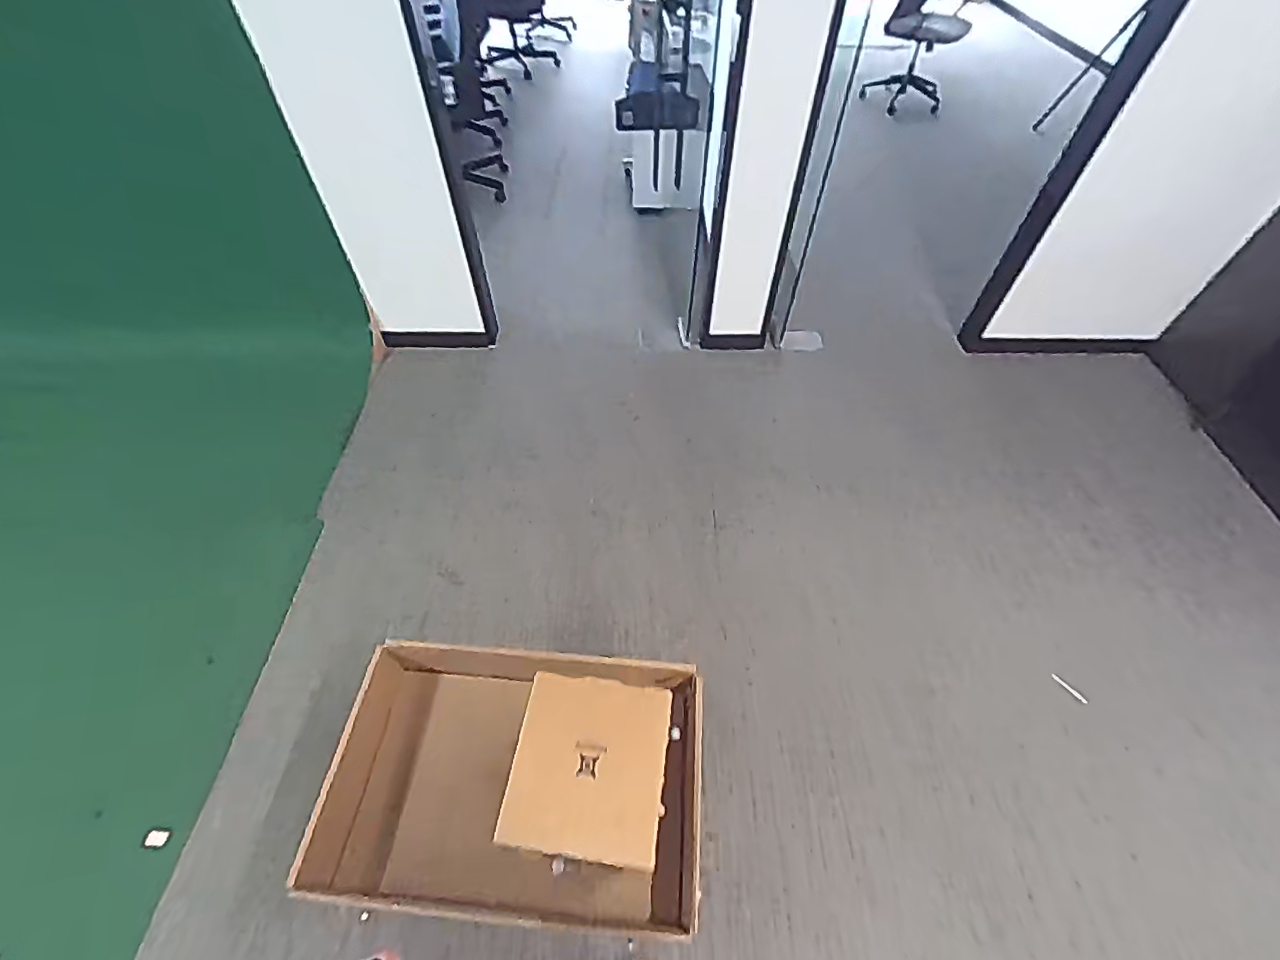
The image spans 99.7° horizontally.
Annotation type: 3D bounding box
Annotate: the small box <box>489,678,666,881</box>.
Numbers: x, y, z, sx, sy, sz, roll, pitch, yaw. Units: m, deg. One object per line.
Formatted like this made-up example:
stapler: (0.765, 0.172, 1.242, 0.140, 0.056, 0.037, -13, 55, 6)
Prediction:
small box: (-0.060, 0.363, 0.650, 0.168, 0.176, 0.179, 6, 52, 5)
